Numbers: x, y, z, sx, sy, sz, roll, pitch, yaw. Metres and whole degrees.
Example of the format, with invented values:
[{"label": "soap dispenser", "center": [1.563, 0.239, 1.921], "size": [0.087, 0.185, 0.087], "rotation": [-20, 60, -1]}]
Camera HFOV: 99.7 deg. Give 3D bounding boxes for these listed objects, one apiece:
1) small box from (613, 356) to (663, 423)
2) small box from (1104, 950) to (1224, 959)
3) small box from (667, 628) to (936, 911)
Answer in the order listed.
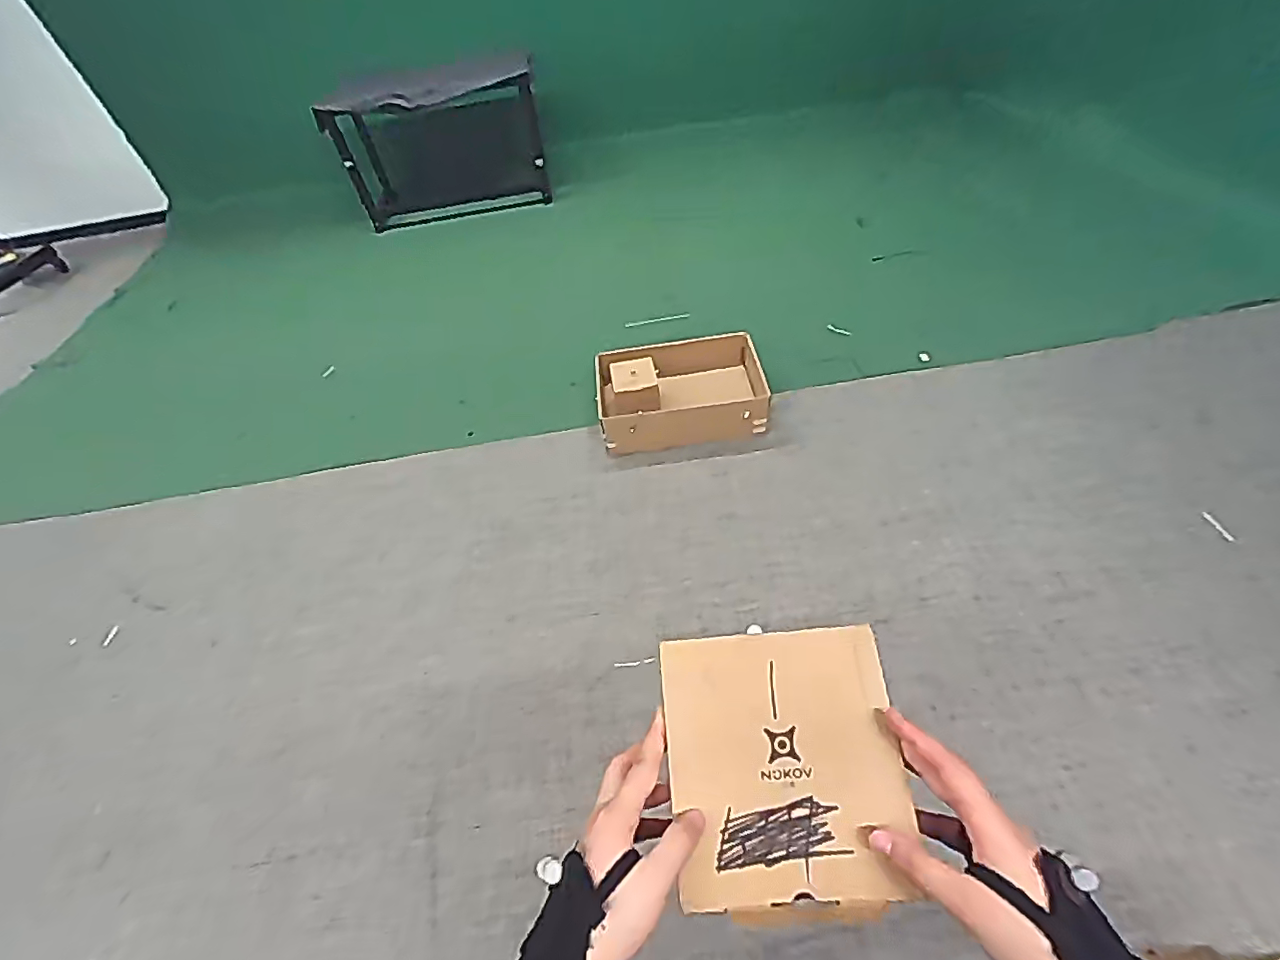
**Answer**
[{"label": "small box", "center": [-0.007, -0.345, 2.067], "size": [0.168, 0.176, 0.179], "rotation": [-10, 50, 0]}, {"label": "small box", "center": [0.802, 0.831, 0.815], "size": [0.179, 0.176, 0.168], "rotation": [-12, 48, 0]}, {"label": "small box", "center": [0.115, 0.227, 0.459], "size": [0.168, 0.176, 0.179], "rotation": [-6, 68, 3]}]
